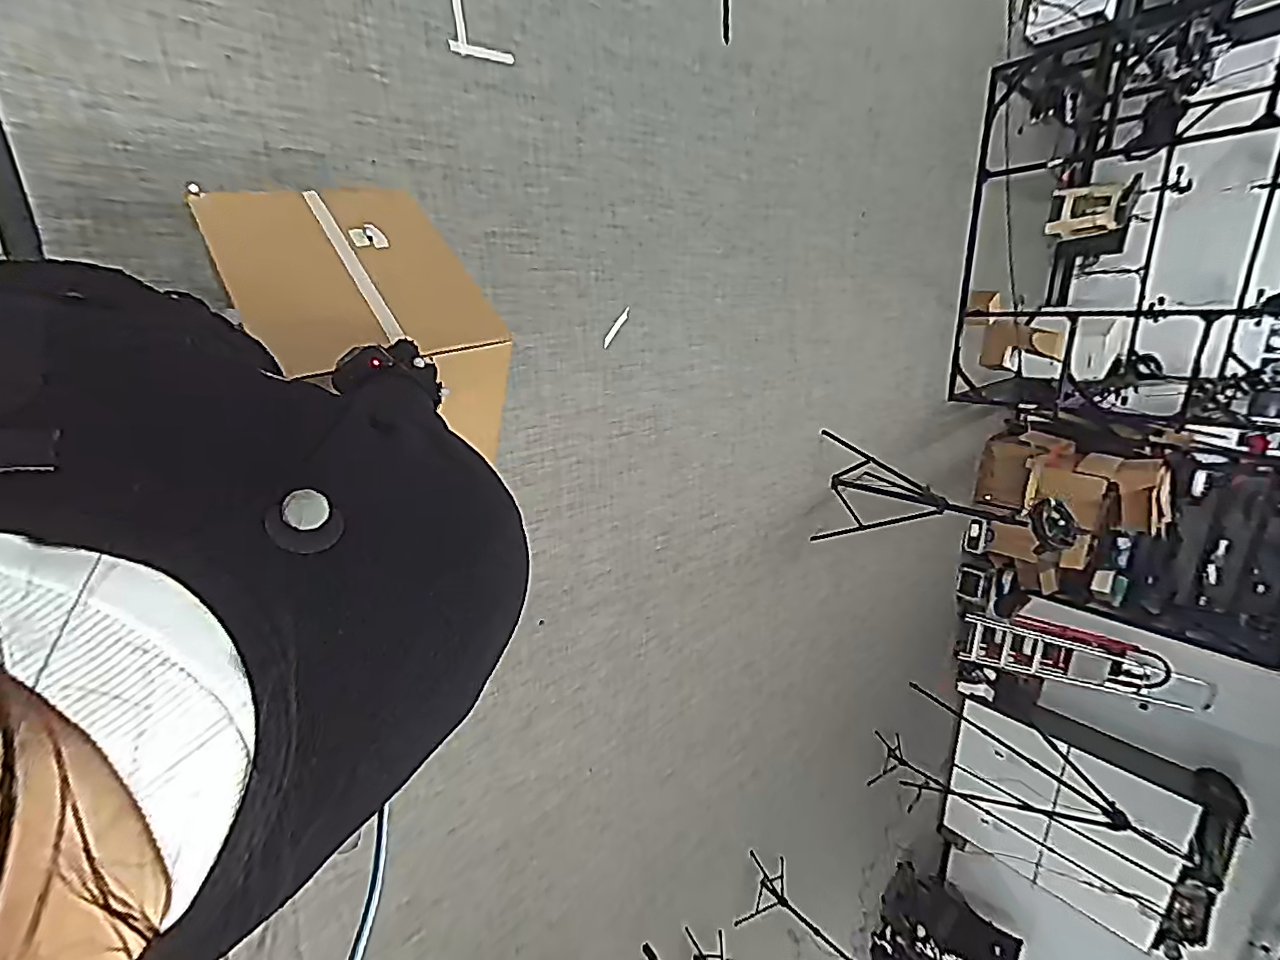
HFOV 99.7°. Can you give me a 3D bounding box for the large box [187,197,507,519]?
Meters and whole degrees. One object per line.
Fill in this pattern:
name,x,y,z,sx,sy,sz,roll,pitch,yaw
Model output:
large box,-0.467,-0.212,0.903,0.320,0.408,0.320,-22,153,-35
